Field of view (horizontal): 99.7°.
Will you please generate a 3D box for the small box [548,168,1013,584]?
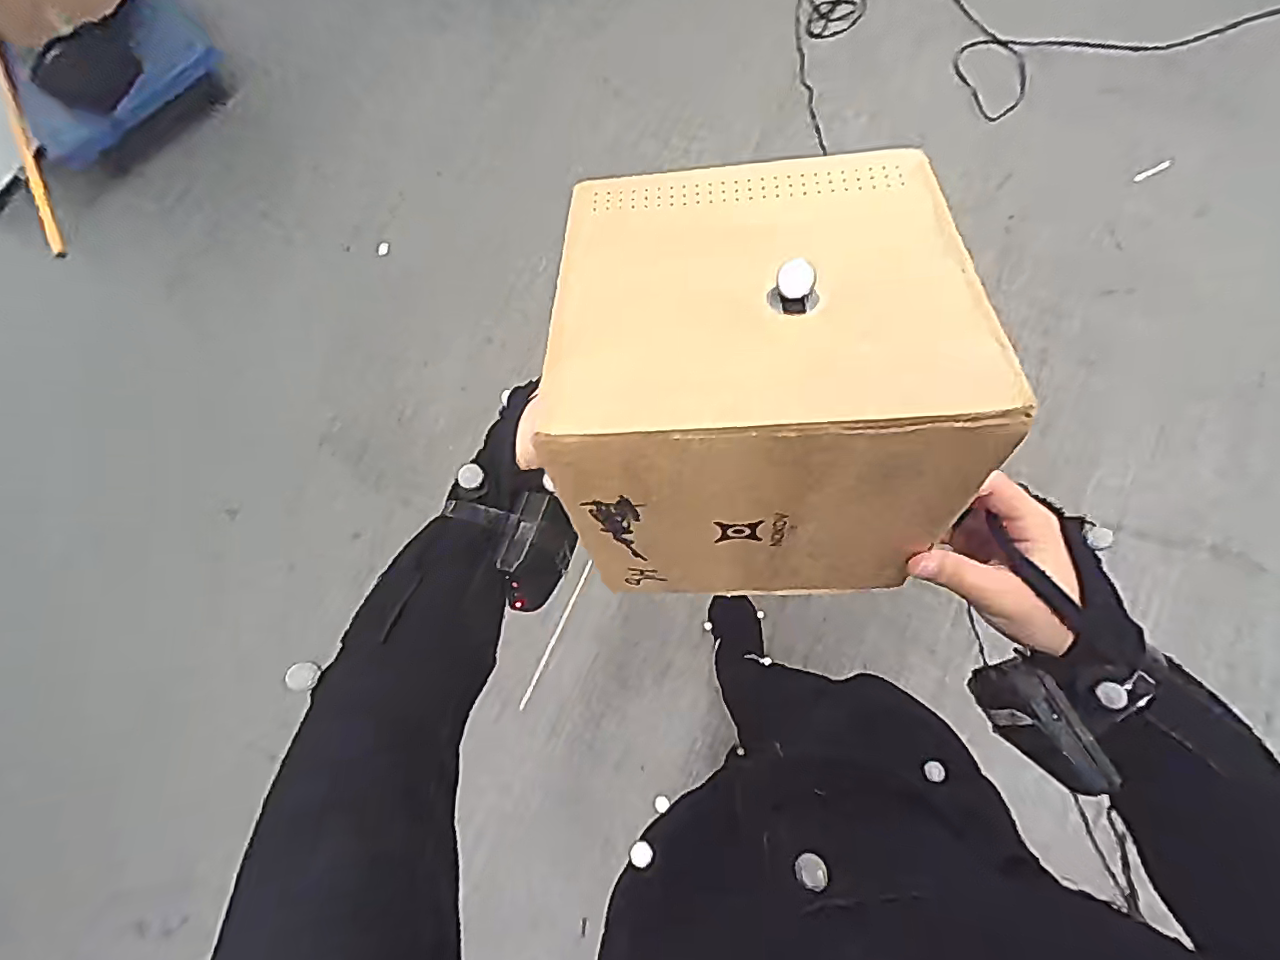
[{"bbox_3d":[0.059,-0.051,0.309,0.179,0.168,0.176,-2,58,7],"label":"small box"}]
